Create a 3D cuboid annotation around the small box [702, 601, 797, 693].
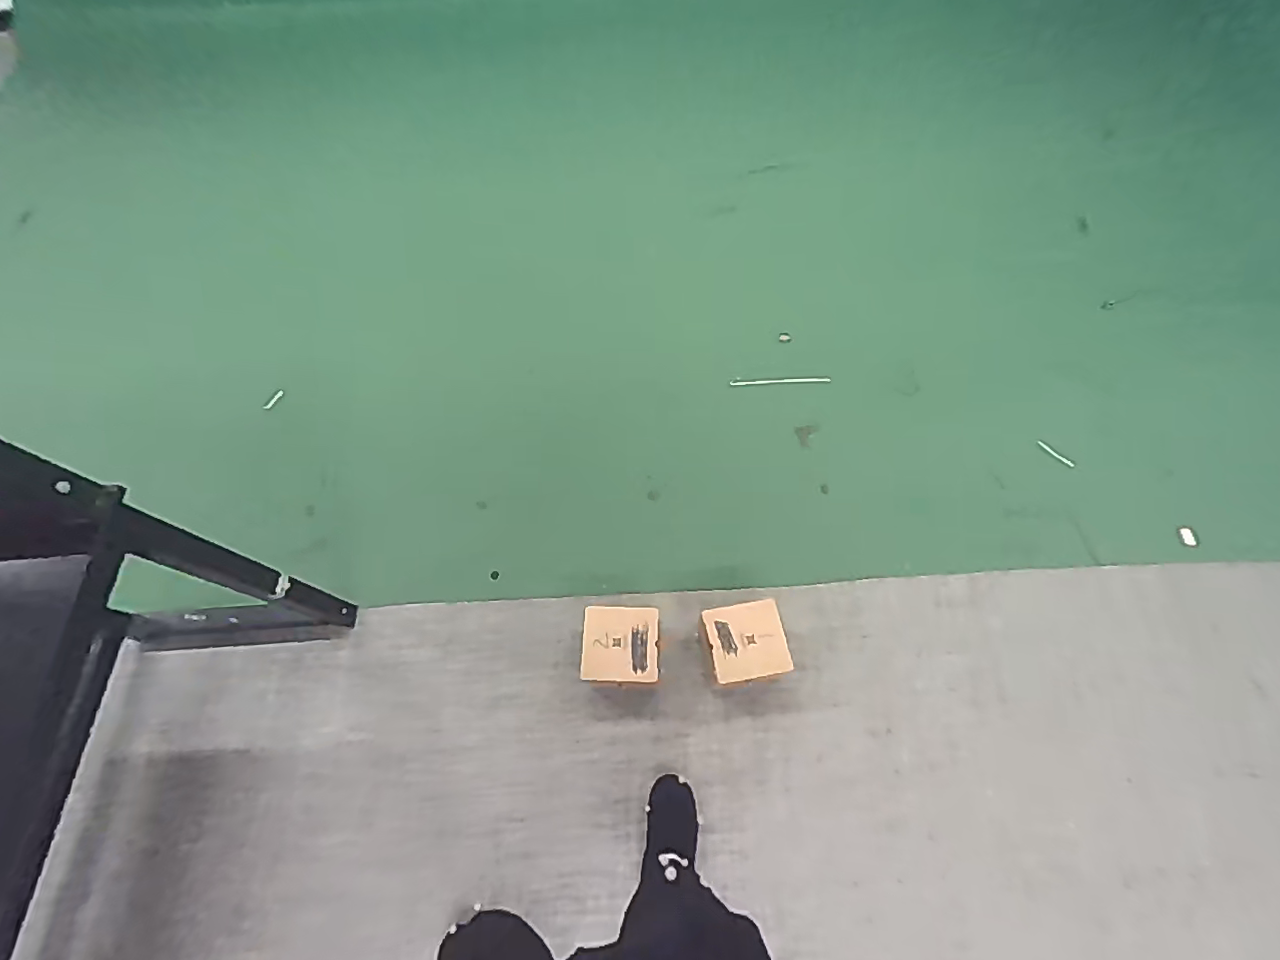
[{"bbox_3d":[0.248,0.399,1.276,0.179,0.176,0.168,-9,65,-4],"label":"small box"}]
